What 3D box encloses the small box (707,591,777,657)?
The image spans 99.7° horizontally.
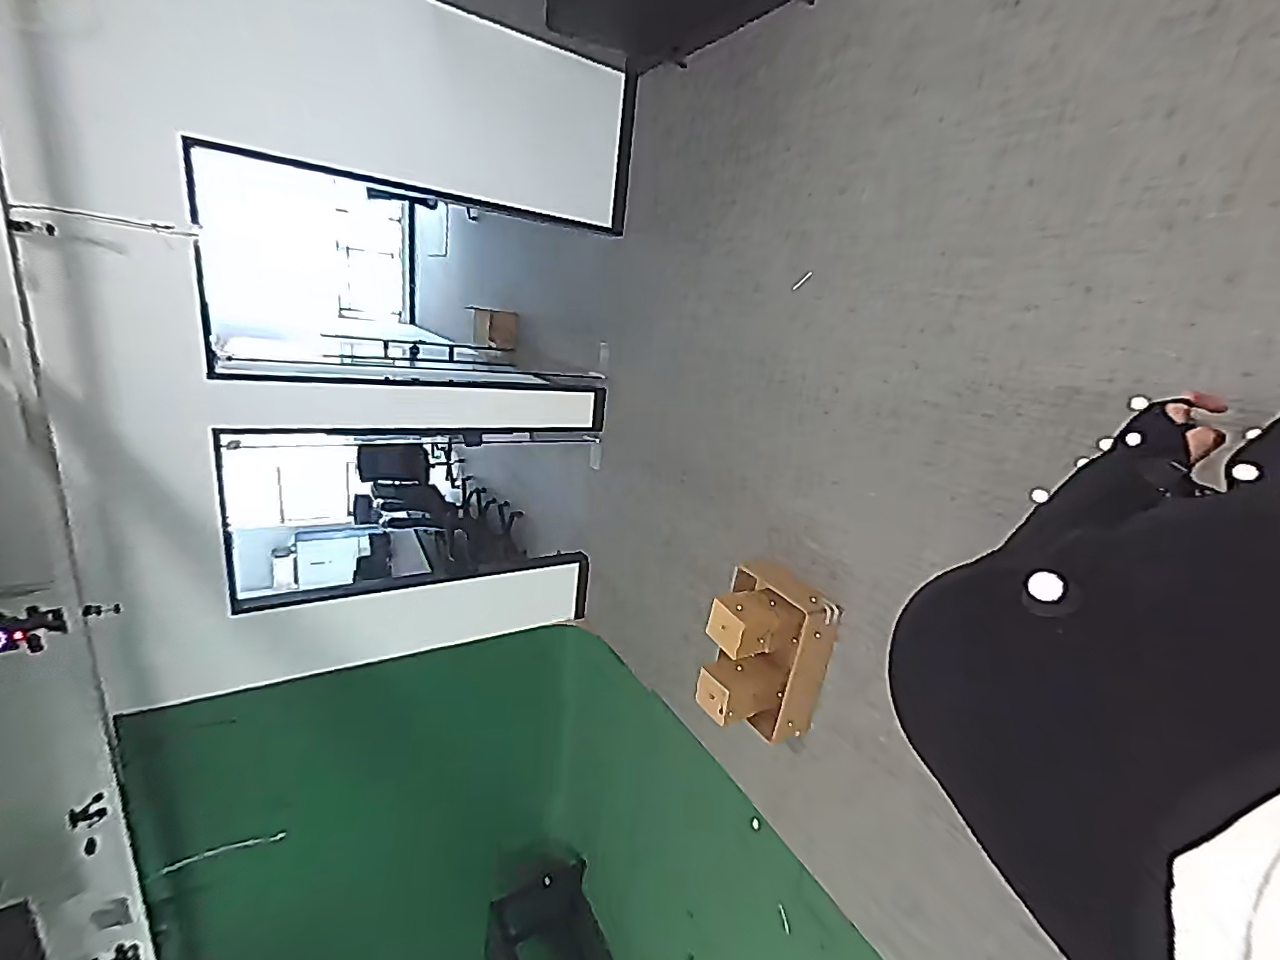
[{"bbox_3d":[0.389,0.542,2.067,0.179,0.176,0.168,37,124,49],"label":"small box"}]

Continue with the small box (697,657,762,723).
[{"bbox_3d":[0.355,0.828,2.153,0.179,0.176,0.168,30,119,53],"label":"small box"}]
